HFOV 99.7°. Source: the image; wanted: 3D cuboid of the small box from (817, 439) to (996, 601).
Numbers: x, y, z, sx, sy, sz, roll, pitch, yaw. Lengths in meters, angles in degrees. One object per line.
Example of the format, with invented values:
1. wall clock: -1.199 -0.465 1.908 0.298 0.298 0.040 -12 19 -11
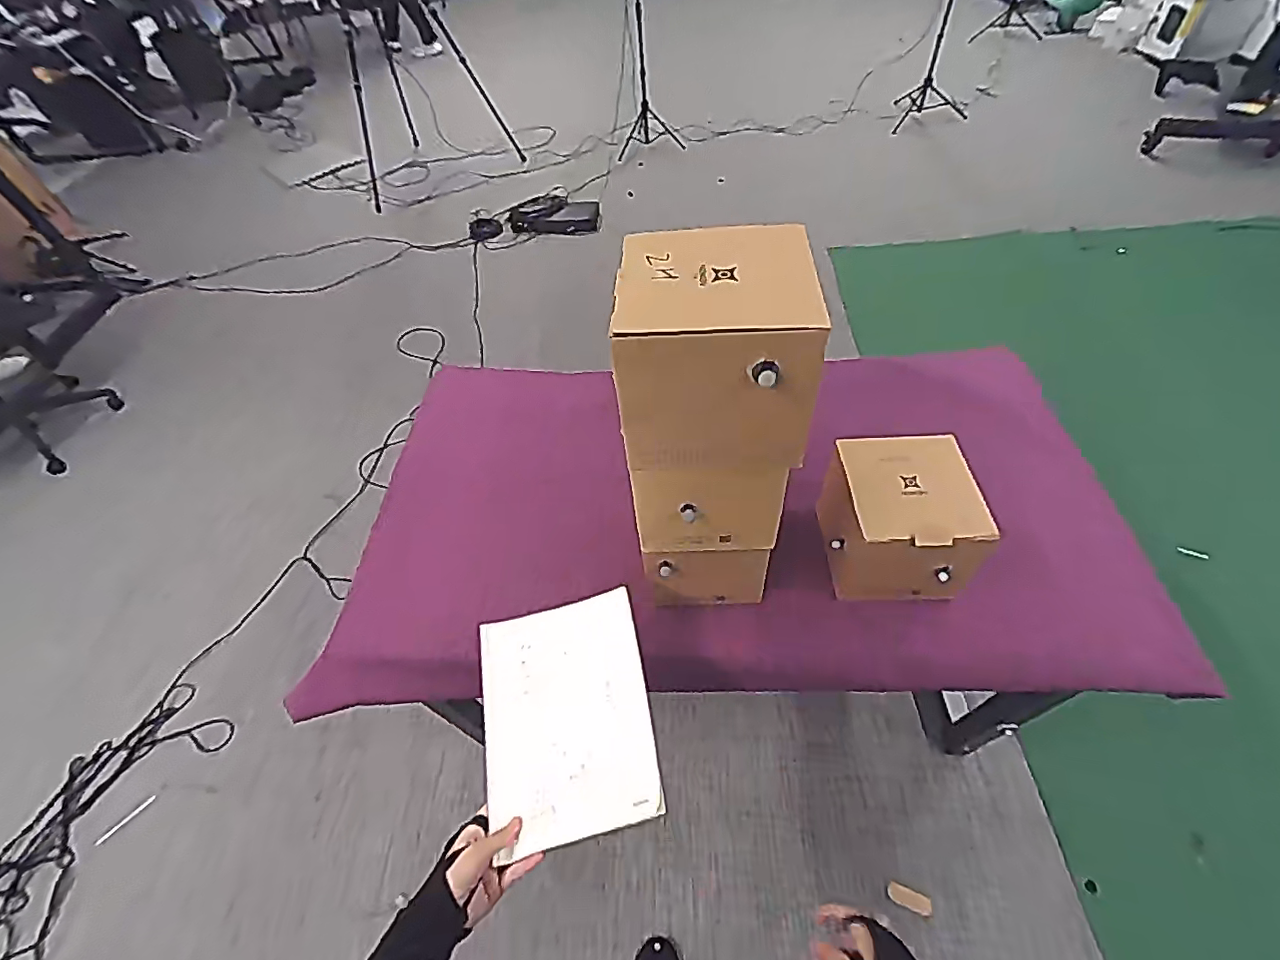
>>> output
1. small box: 0.364 0.062 0.778 0.168 0.176 0.179 -1 50 4

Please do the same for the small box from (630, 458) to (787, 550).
1. small box: 0.081 -0.025 0.668 0.168 0.176 0.179 -2 50 5

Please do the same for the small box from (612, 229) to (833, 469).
1. small box: 0.076 -0.124 0.535 0.179 0.176 0.168 0 50 7
